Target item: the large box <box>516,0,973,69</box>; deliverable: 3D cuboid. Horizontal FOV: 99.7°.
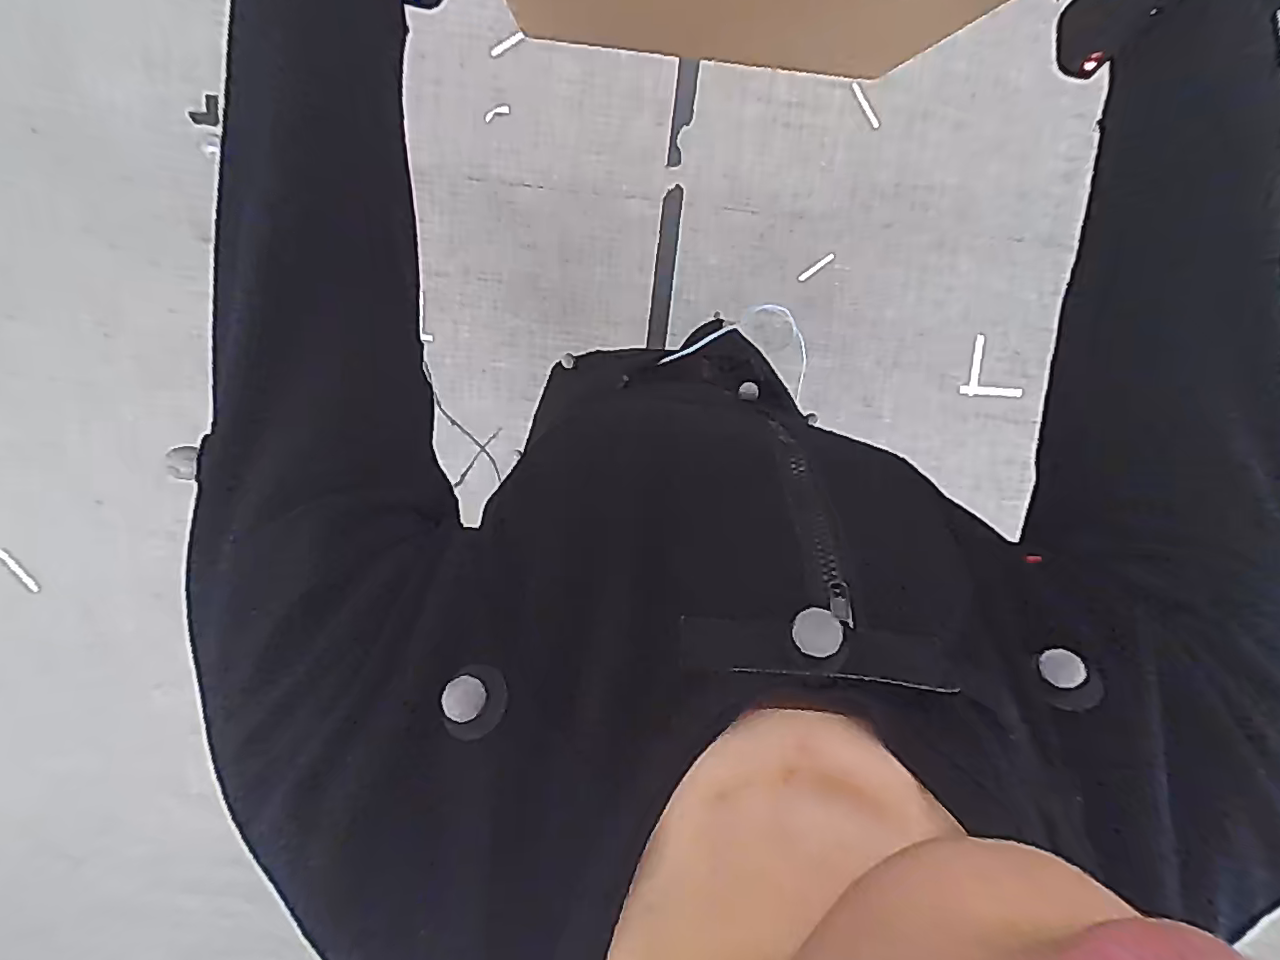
[{"bbox_3d":[0.089,-0.557,0.412,0.408,0.320,0.320,3,115,-4],"label":"large box"}]
